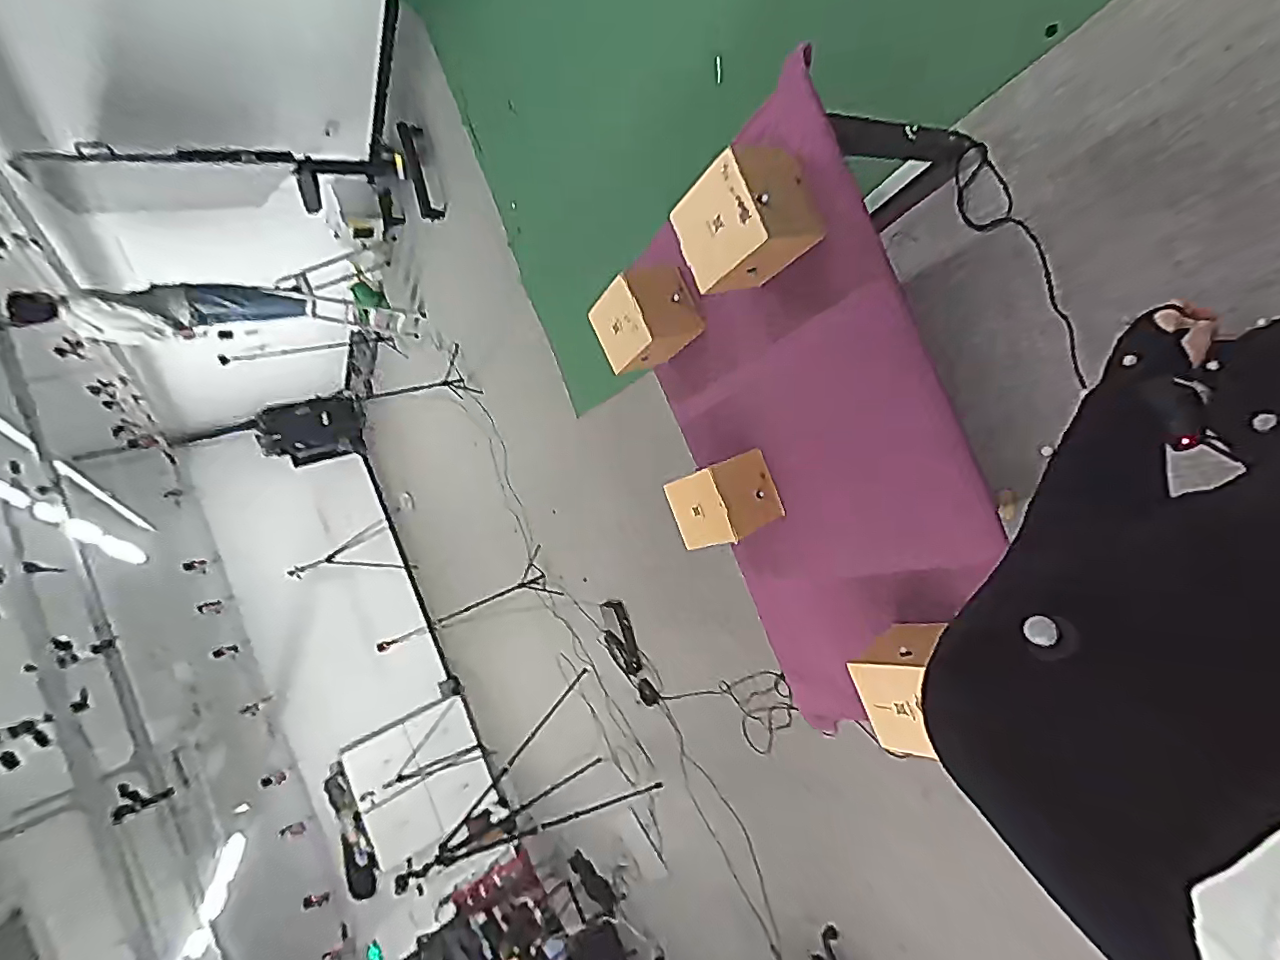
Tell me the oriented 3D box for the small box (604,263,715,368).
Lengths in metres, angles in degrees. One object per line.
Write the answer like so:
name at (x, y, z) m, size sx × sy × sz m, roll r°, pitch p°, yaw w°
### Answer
small box at (0.046, -0.393, 1.295) m, size 0.179 × 0.176 × 0.168 m, roll -29°, pitch 85°, yaw 57°

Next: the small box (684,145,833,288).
small box at (0.216, -0.479, 0.995) m, size 0.179 × 0.176 × 0.168 m, roll -25°, pitch 87°, yaw 58°

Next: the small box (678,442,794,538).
small box at (0.226, 0.025, 1.271) m, size 0.179 × 0.176 × 0.168 m, roll -24°, pitch 87°, yaw 56°

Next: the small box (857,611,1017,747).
small box at (0.540, 0.345, 0.975) m, size 0.179 × 0.176 × 0.168 m, roll -28°, pitch 83°, yaw 60°
